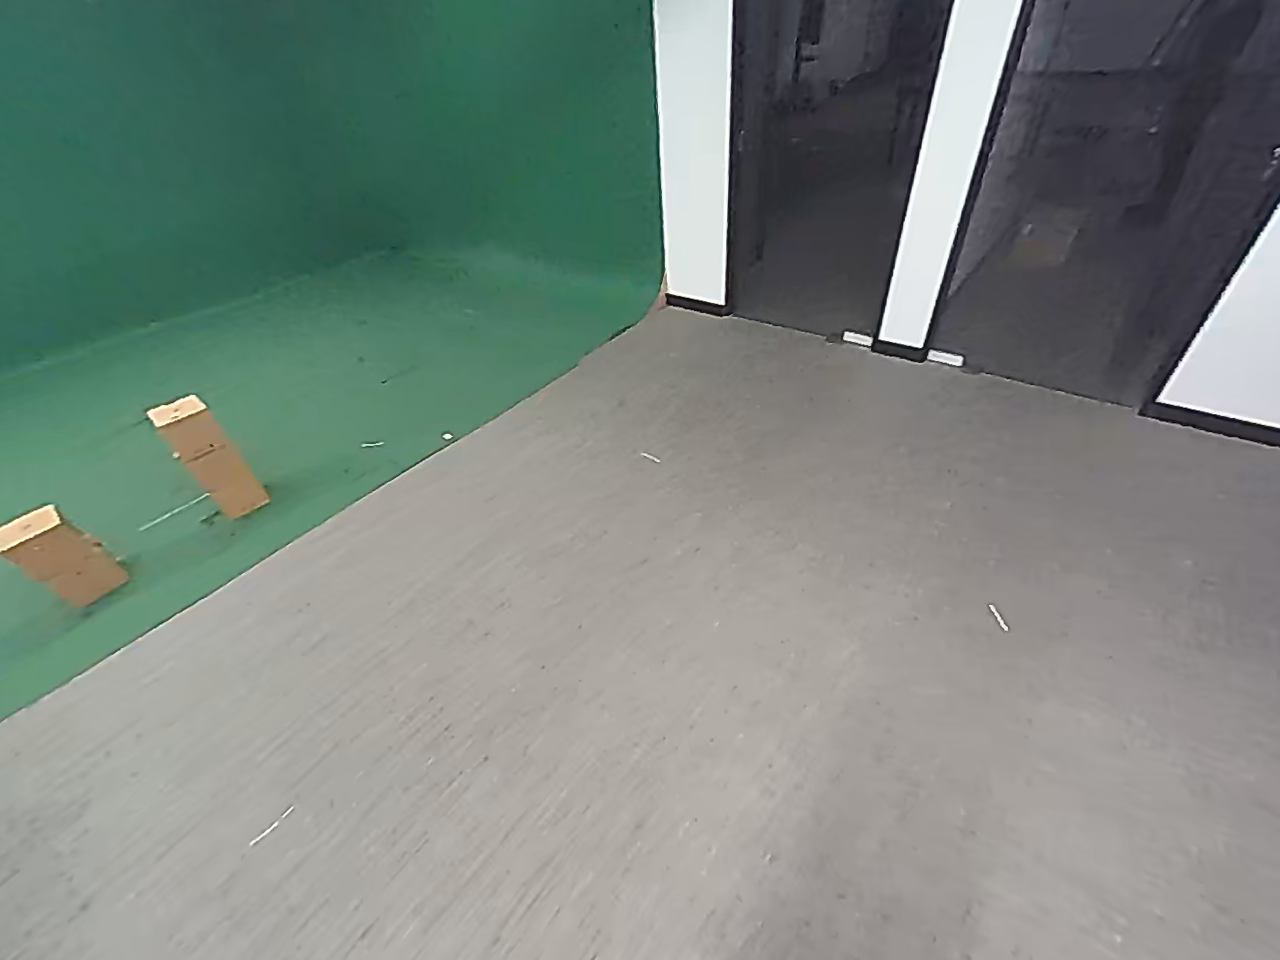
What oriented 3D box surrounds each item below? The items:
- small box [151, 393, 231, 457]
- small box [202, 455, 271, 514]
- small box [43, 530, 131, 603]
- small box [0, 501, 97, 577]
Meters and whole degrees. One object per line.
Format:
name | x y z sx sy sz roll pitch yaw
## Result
small box | -1.763 -0.216 2.127 0.179 0.176 0.168 28 49 33
small box | -1.747 0.026 2.349 0.168 0.176 0.179 -34 48 -30
small box | -2.082 0.327 2.026 0.168 0.176 0.179 25 49 29
small box | -2.099 0.211 1.913 0.168 0.176 0.179 27 49 31
